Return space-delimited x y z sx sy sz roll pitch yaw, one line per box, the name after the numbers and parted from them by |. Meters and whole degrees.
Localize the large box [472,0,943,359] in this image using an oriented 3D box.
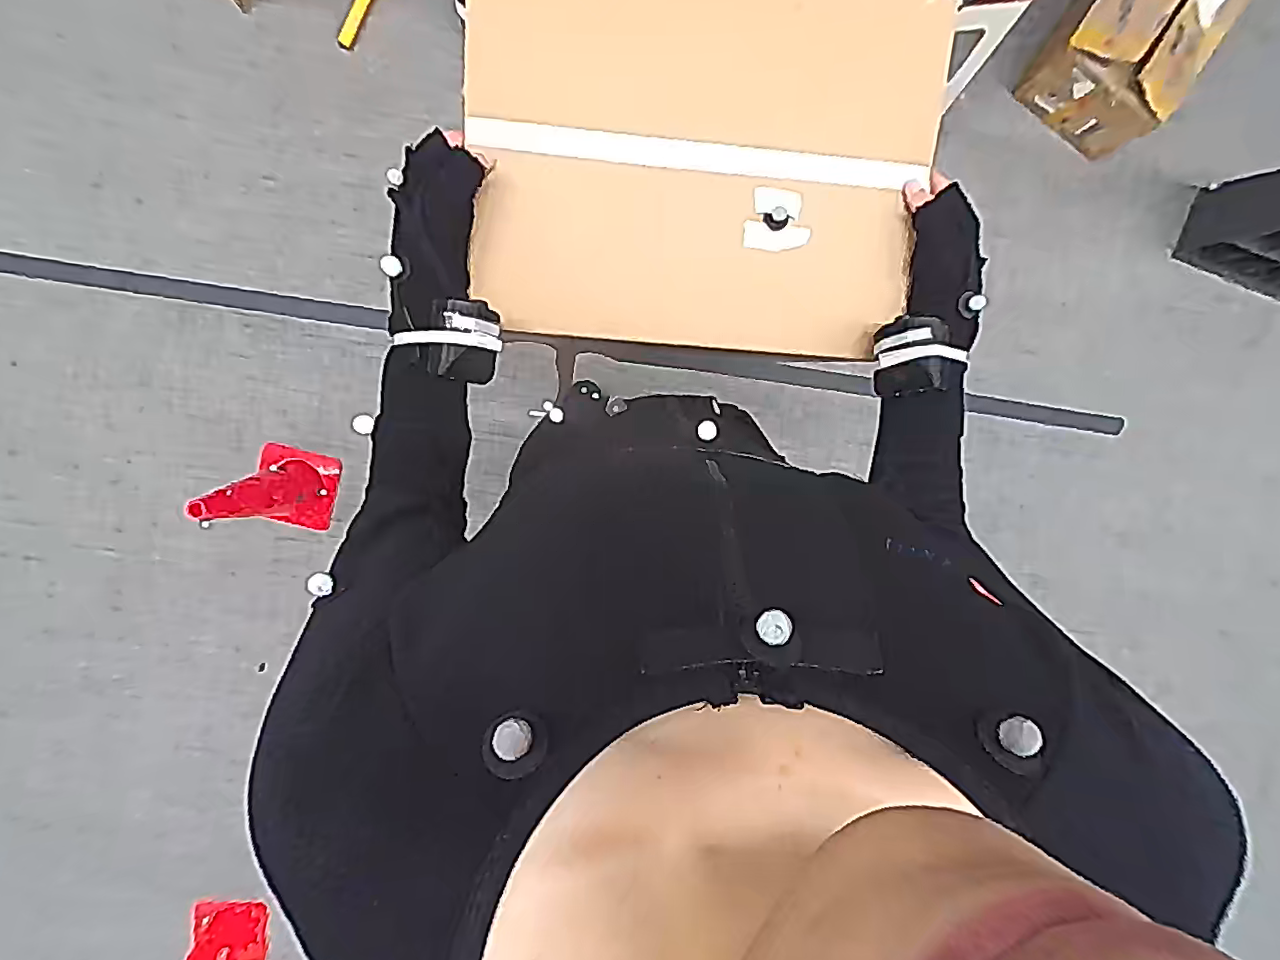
0.042 -0.310 0.619 0.408 0.320 0.320 3 102 -6 | large box

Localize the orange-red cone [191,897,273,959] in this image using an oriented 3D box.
-1.139 1.306 1.370 0.198 0.360 0.199 6 97 -4 | orange-red cone

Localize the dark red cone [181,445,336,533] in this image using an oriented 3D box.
-0.876 0.040 1.222 0.201 0.394 0.202 14 95 -6 | dark red cone

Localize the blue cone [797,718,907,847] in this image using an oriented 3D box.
0.583 0.822 1.448 0.192 0.380 0.193 11 96 -6 | blue cone
